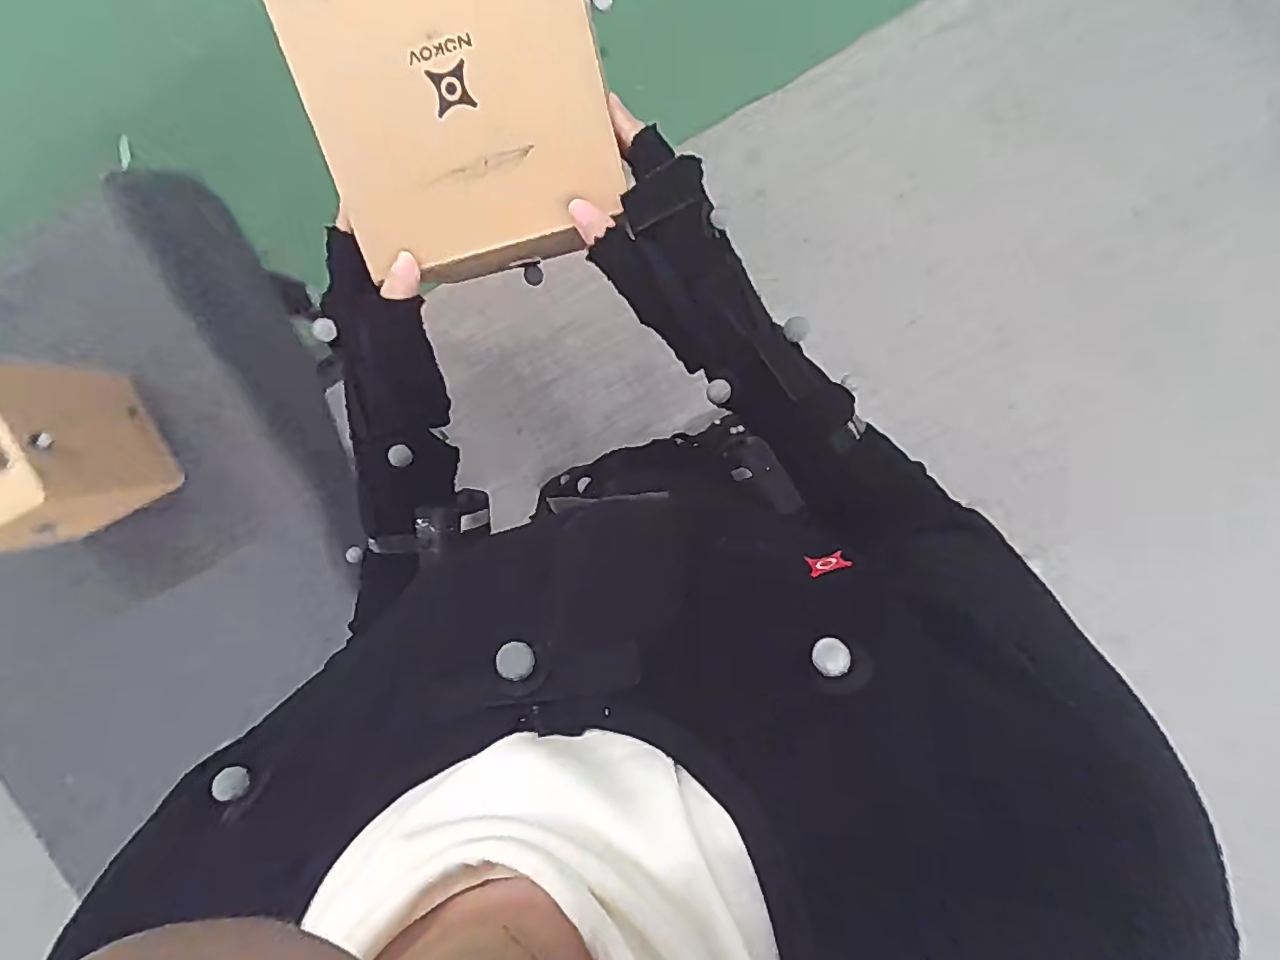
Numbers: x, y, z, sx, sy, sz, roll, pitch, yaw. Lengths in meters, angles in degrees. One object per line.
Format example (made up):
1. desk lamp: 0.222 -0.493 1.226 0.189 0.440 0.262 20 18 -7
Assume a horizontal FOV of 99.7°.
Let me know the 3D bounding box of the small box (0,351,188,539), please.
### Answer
1. small box: -0.718 -0.037 0.653 0.179 0.176 0.168 -26 96 7
